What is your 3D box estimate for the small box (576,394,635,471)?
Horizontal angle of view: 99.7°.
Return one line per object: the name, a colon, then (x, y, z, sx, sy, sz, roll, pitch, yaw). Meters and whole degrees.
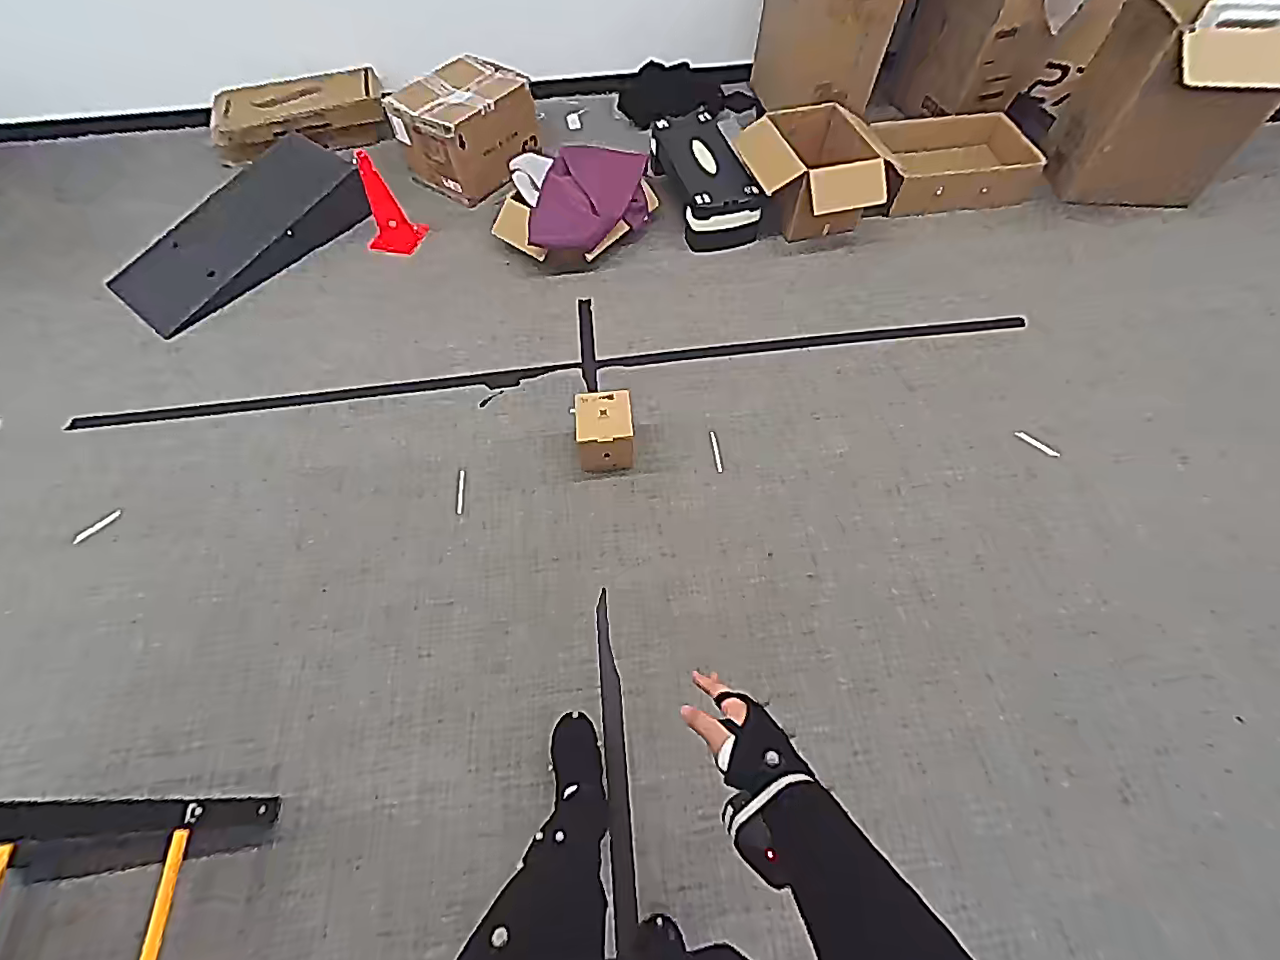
small box: (-0.104, -0.139, 1.658, 0.168, 0.176, 0.179, -5, 61, -2)
